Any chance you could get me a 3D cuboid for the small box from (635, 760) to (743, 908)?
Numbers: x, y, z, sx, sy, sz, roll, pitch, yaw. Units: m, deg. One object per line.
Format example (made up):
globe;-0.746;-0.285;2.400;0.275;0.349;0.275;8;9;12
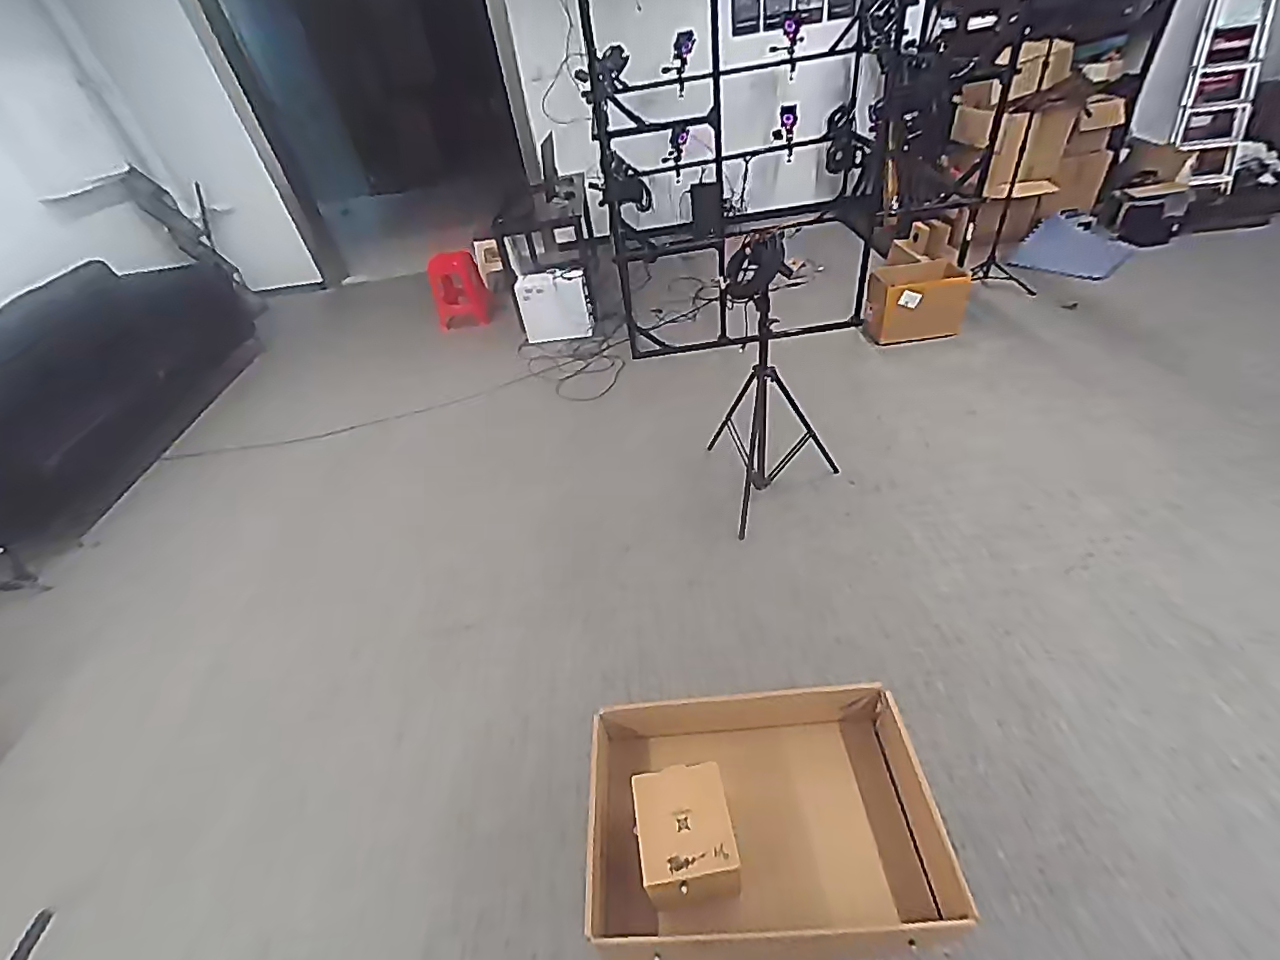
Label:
small box;0.089;0.655;1.003;0.168;0.176;0.179;-11;40;-1
